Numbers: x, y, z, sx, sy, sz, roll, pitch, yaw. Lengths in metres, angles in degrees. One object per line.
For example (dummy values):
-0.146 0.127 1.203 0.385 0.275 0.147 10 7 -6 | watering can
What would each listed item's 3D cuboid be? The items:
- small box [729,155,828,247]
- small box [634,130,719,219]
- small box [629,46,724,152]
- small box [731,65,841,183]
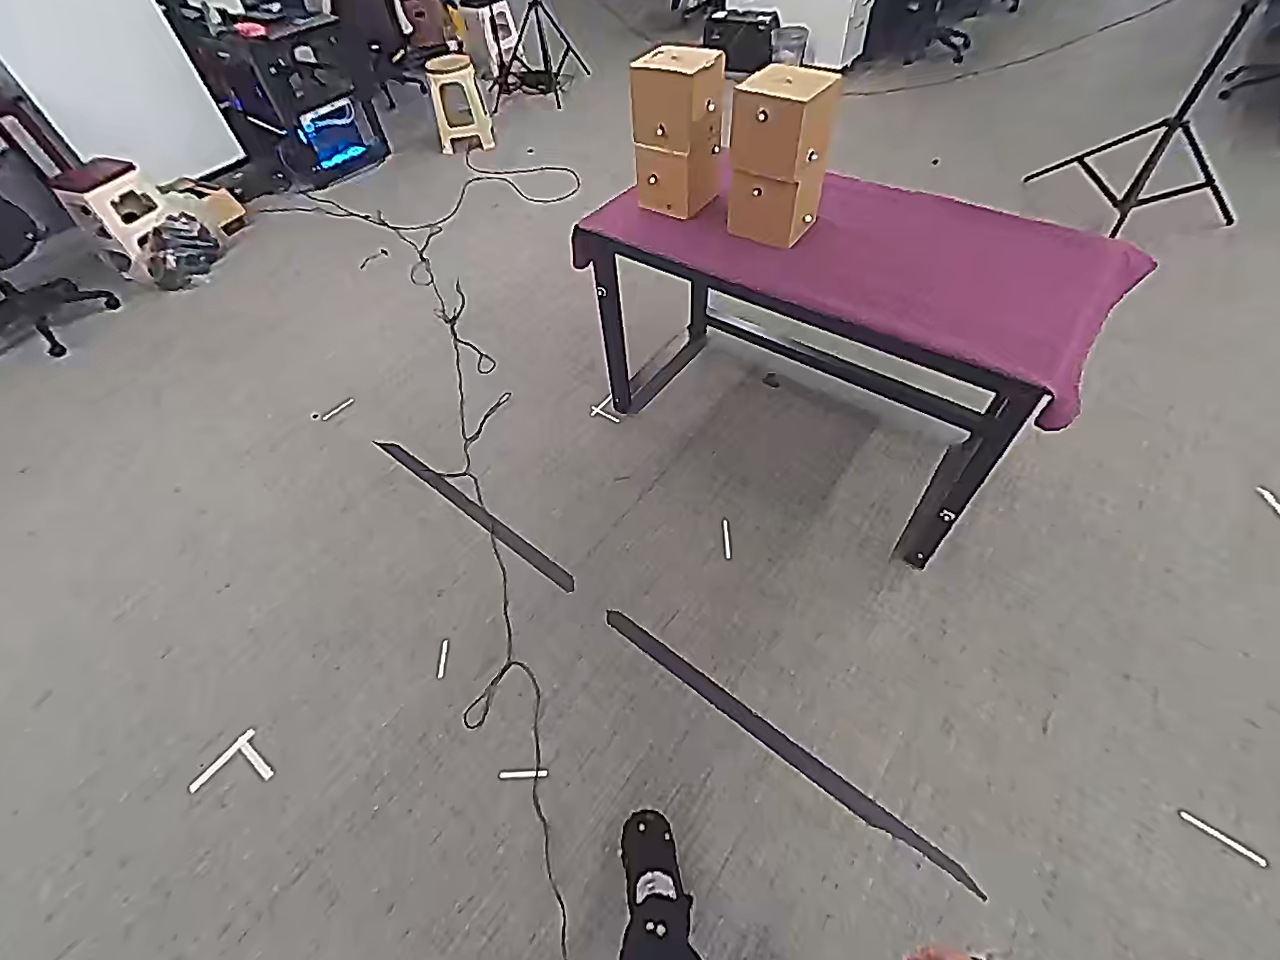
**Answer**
0.339 -0.712 1.356 0.179 0.176 0.168 28 60 22 | small box
0.103 -0.842 1.475 0.168 0.176 0.179 27 59 23 | small box
0.092 -0.949 1.351 0.179 0.176 0.168 25 58 21 | small box
0.320 -0.801 1.222 0.179 0.176 0.168 31 62 23 | small box
